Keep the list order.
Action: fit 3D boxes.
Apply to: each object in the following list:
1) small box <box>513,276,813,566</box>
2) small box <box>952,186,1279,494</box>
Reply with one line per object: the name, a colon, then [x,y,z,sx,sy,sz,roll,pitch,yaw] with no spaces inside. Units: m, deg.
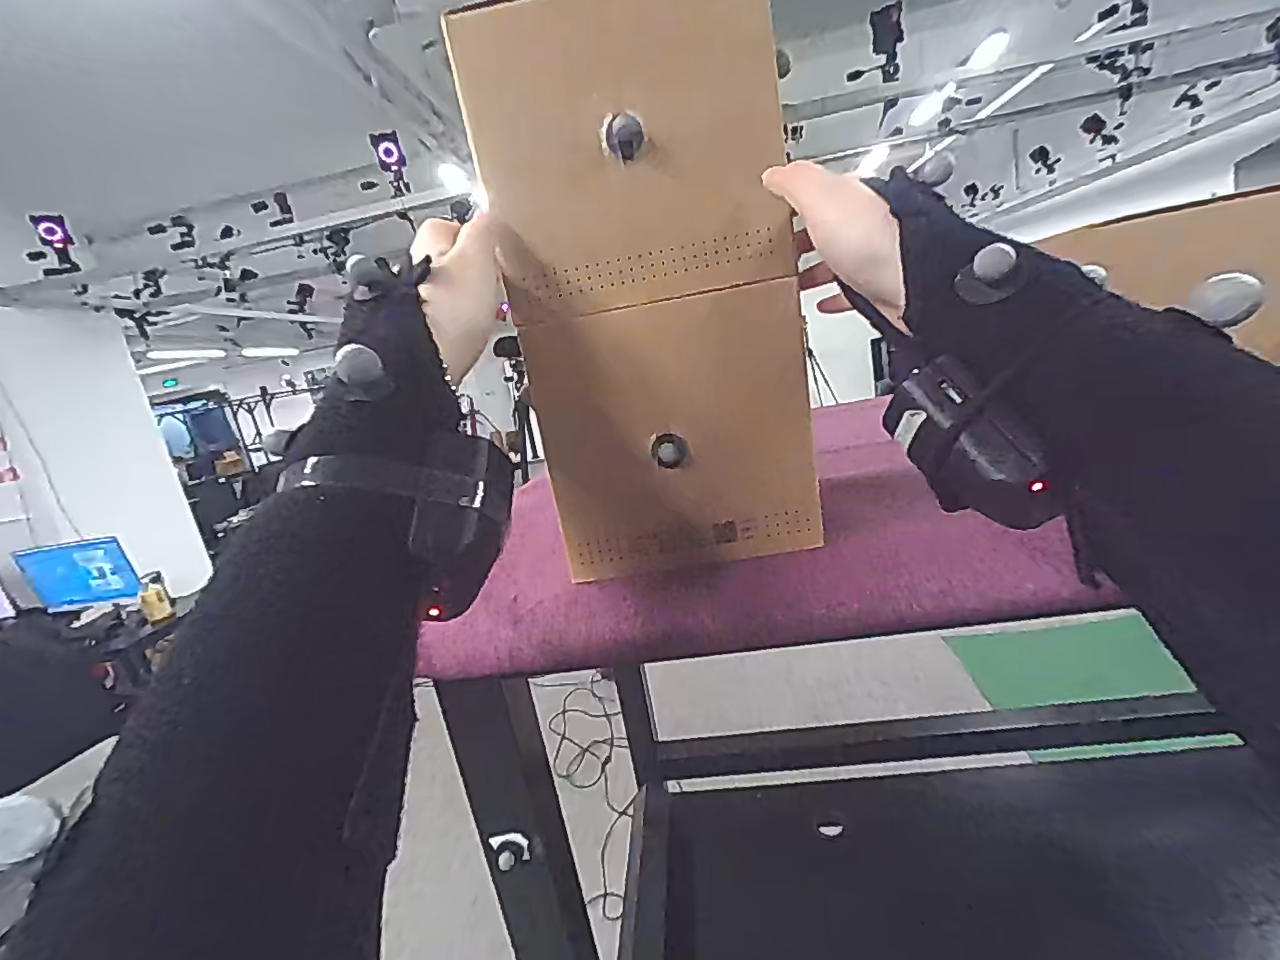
small box: [0.023,-0.042,0.406,0.168,0.176,0.179,-9,14,4]
small box: [0.360,-0.101,0.398,0.179,0.176,0.168,-11,13,6]
